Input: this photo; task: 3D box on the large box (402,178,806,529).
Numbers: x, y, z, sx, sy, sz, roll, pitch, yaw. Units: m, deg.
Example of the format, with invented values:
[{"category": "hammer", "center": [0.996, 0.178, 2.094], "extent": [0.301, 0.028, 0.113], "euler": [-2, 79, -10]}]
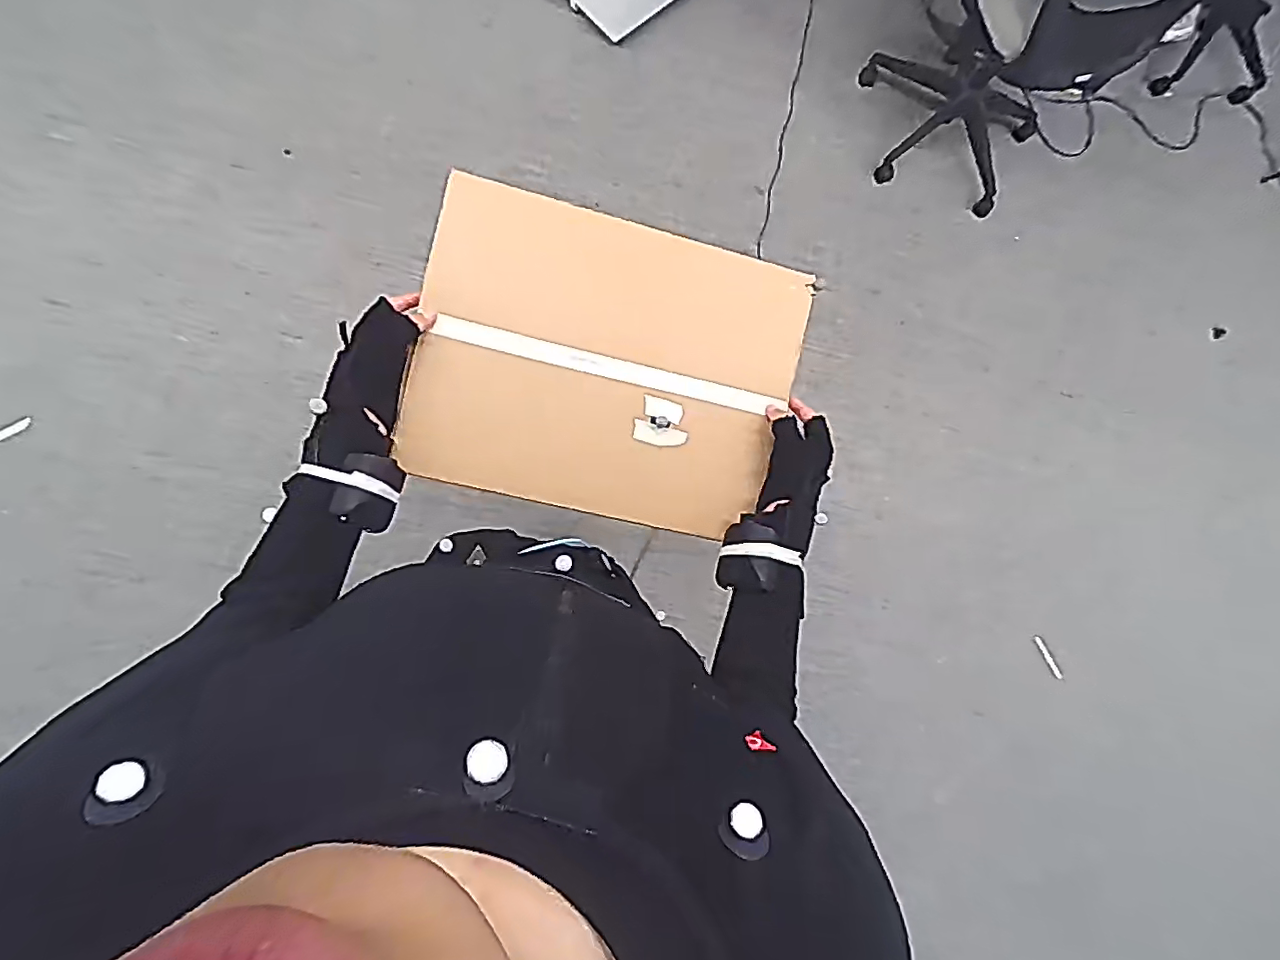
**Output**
[{"category": "large box", "center": [-0.053, -0.136, 0.741], "extent": [0.408, 0.320, 0.320], "euler": [13, 91, -9]}]
